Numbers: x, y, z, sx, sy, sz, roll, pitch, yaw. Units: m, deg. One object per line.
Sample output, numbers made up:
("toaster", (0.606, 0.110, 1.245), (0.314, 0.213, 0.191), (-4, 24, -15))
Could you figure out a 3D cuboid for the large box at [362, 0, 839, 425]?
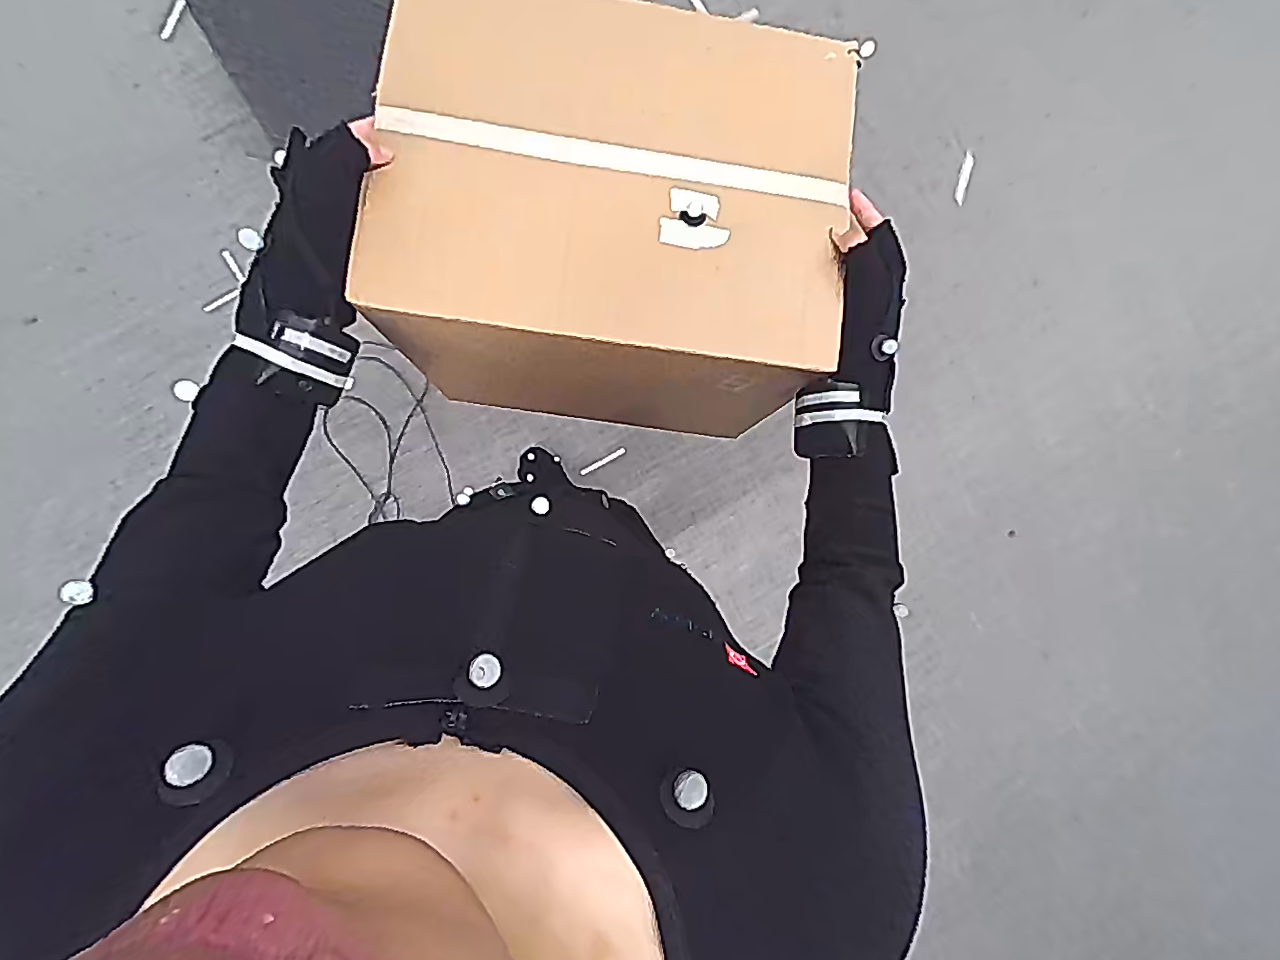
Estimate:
("large box", (-0.036, -0.262, 0.622), (0.408, 0.320, 0.320), (6, 84, -5))
